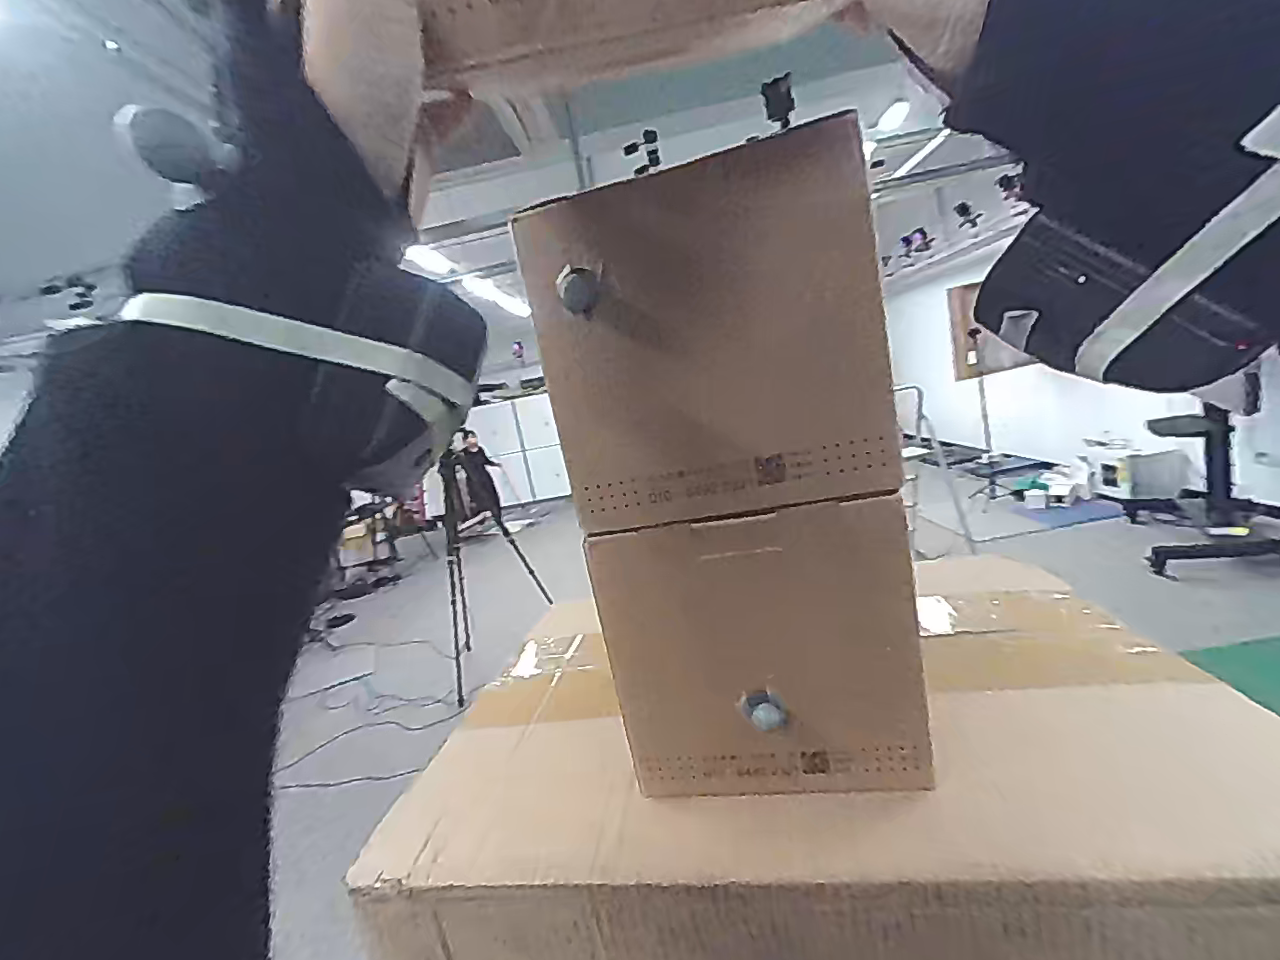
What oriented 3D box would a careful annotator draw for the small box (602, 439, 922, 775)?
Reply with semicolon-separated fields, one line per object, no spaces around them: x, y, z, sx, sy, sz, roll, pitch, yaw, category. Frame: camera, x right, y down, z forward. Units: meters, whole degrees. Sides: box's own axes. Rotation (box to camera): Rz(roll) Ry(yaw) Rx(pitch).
0.084;0.075;0.385;0.168;0.176;0.179;-8;12;12;small box

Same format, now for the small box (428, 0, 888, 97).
-0.003;-0.261;0.210;0.168;0.176;0.179;-6;36;6;small box
